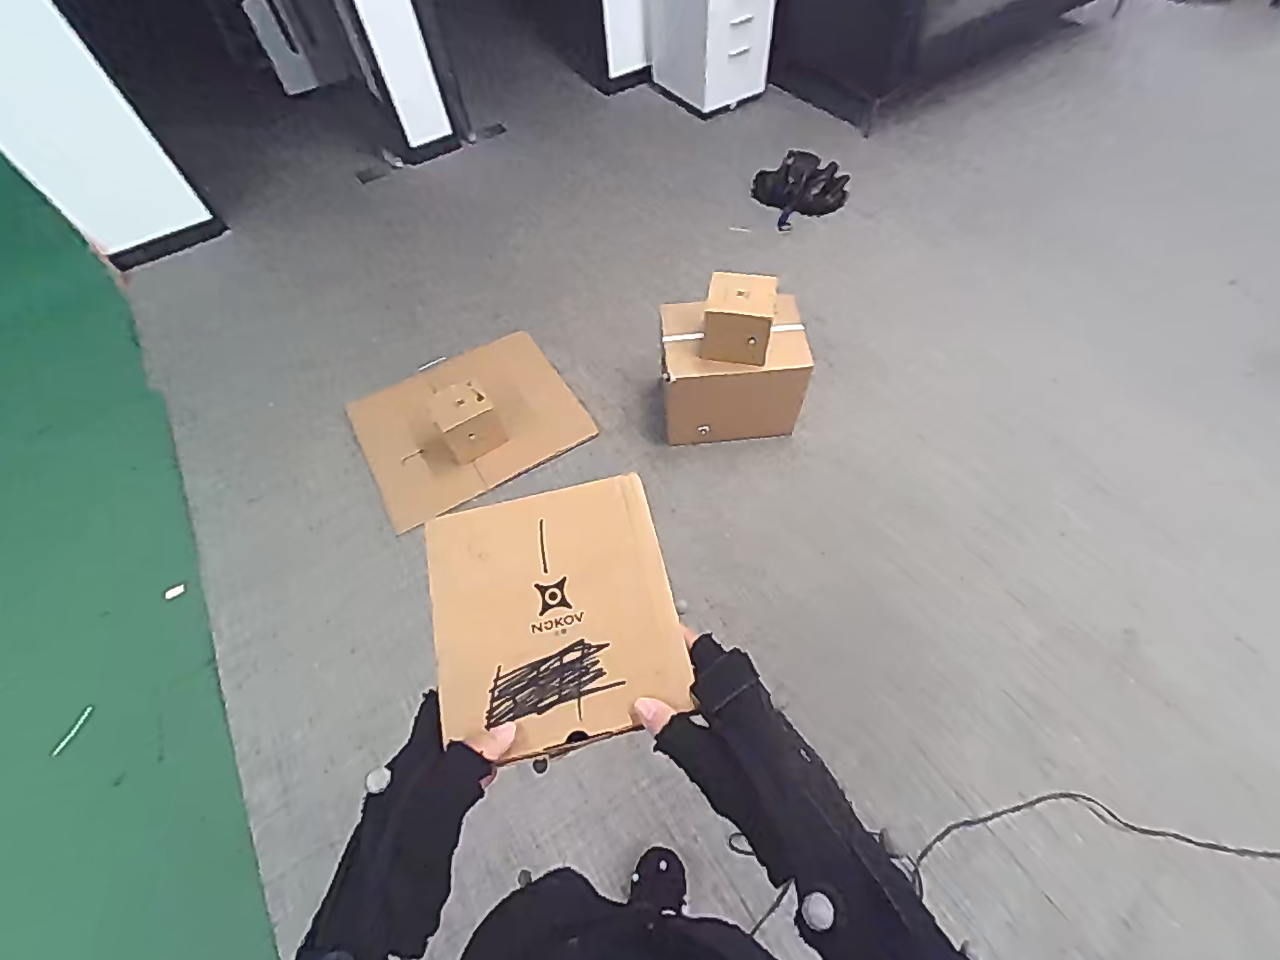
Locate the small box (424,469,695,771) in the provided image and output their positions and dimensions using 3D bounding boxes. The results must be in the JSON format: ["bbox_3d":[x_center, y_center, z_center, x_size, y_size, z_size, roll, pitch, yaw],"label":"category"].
[{"bbox_3d":[-0.059,0.118,0.456,0.168,0.176,0.179,-16,68,-5],"label":"small box"}]

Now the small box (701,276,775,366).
[{"bbox_3d":[0.266,-0.431,1.481,0.179,0.176,0.168,7,57,10],"label":"small box"}]

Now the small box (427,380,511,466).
[{"bbox_3d":[-0.541,-0.178,1.727,0.179,0.176,0.168,-34,59,-15],"label":"small box"}]
